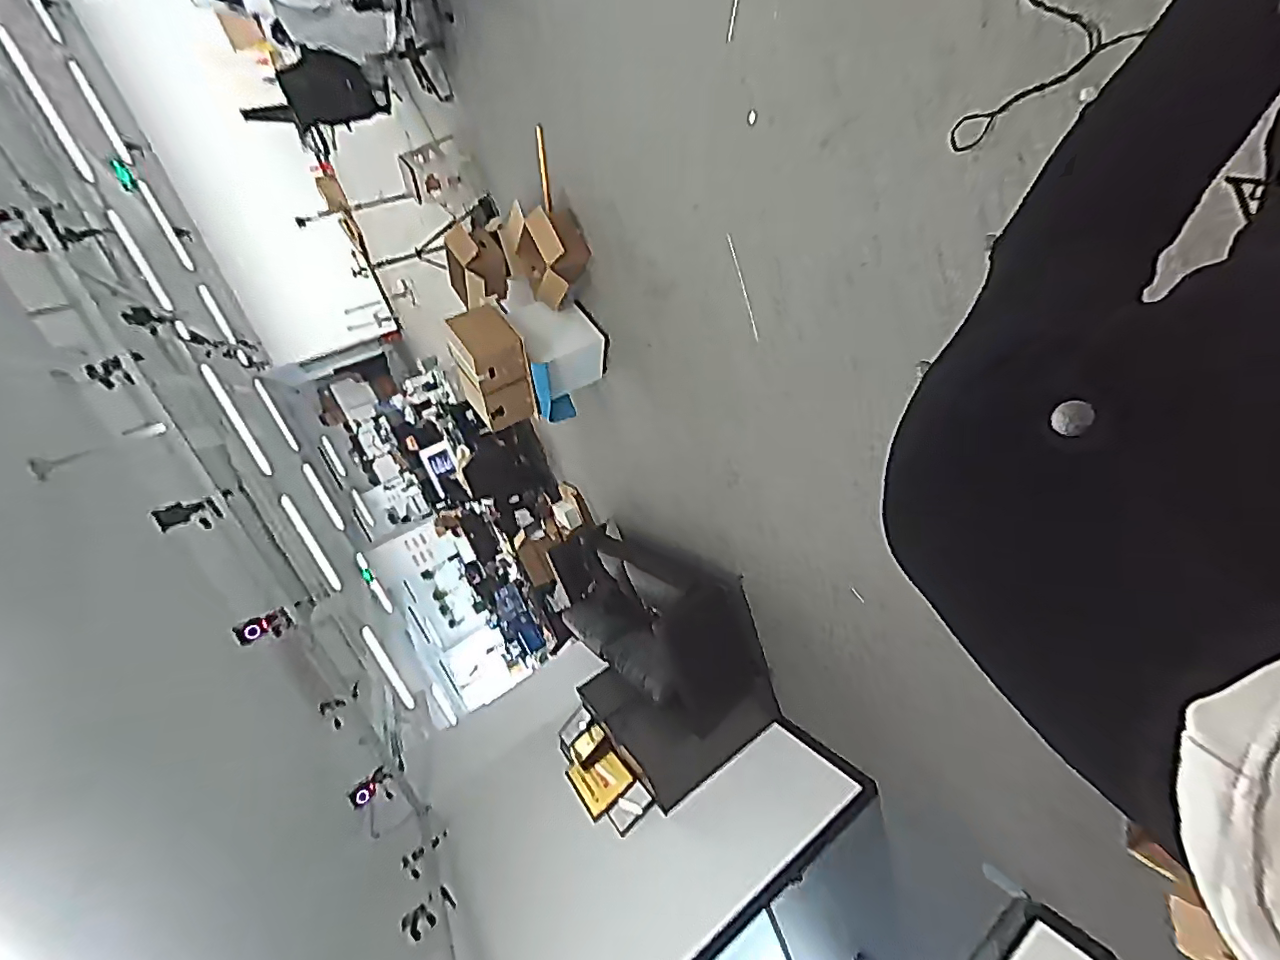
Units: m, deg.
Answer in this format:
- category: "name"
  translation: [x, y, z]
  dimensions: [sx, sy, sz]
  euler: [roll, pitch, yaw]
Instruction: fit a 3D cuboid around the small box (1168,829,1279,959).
- category: "small box"
  translation: [1.159, 0.827, 1.035]
  dimensions: [0.168, 0.176, 0.179]
  euler: [13, 126, 63]
